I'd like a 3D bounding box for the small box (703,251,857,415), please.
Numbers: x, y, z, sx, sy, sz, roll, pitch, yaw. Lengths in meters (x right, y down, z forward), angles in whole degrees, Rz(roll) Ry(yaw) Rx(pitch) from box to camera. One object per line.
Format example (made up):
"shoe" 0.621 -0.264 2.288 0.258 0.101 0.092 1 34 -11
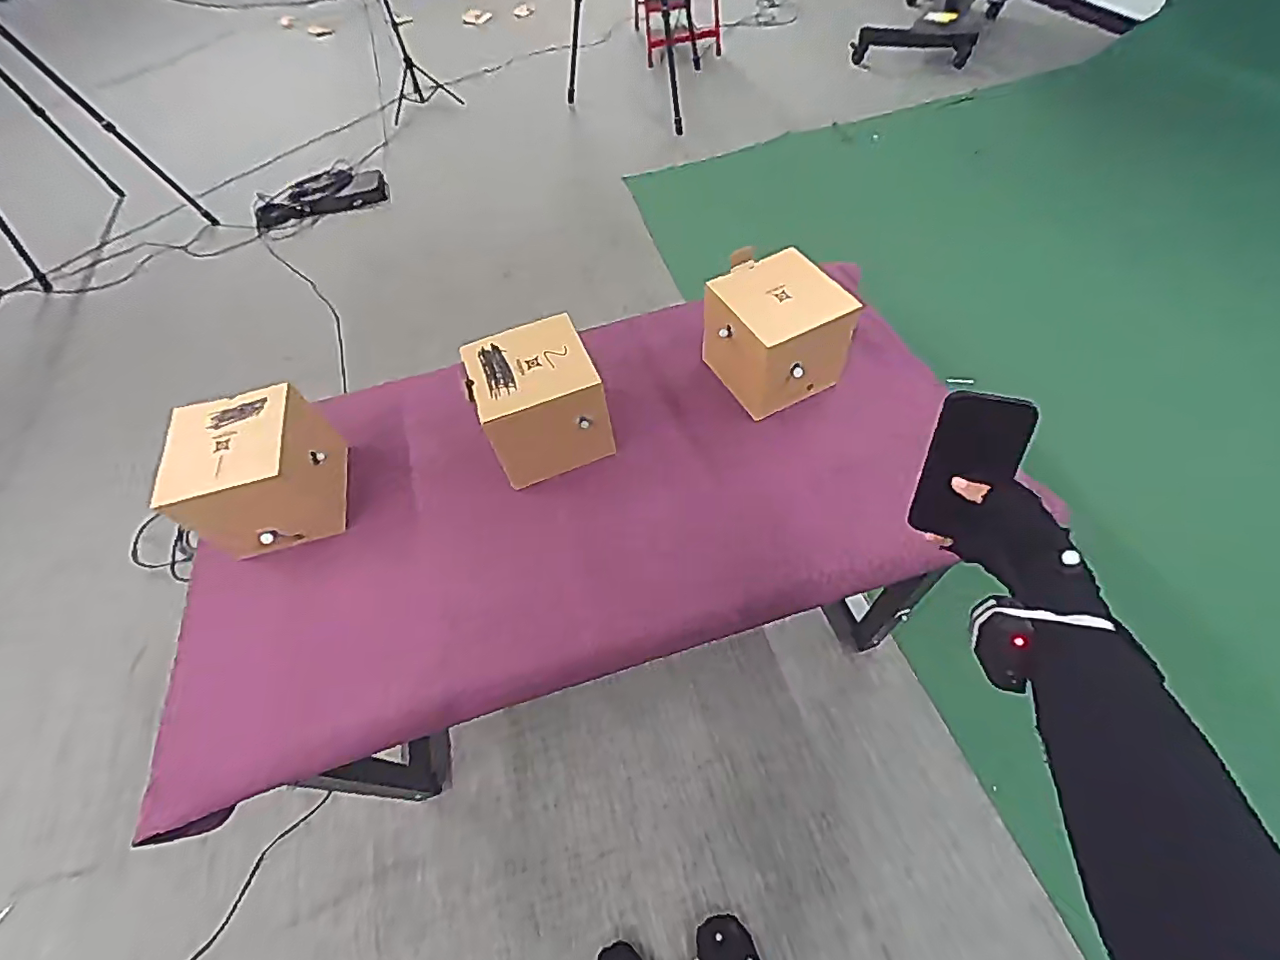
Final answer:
"small box" 0.216 -0.229 0.878 0.168 0.176 0.179 -25 57 -10

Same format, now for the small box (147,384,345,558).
"small box" -0.565 -0.010 0.805 0.168 0.176 0.179 -15 58 -5
